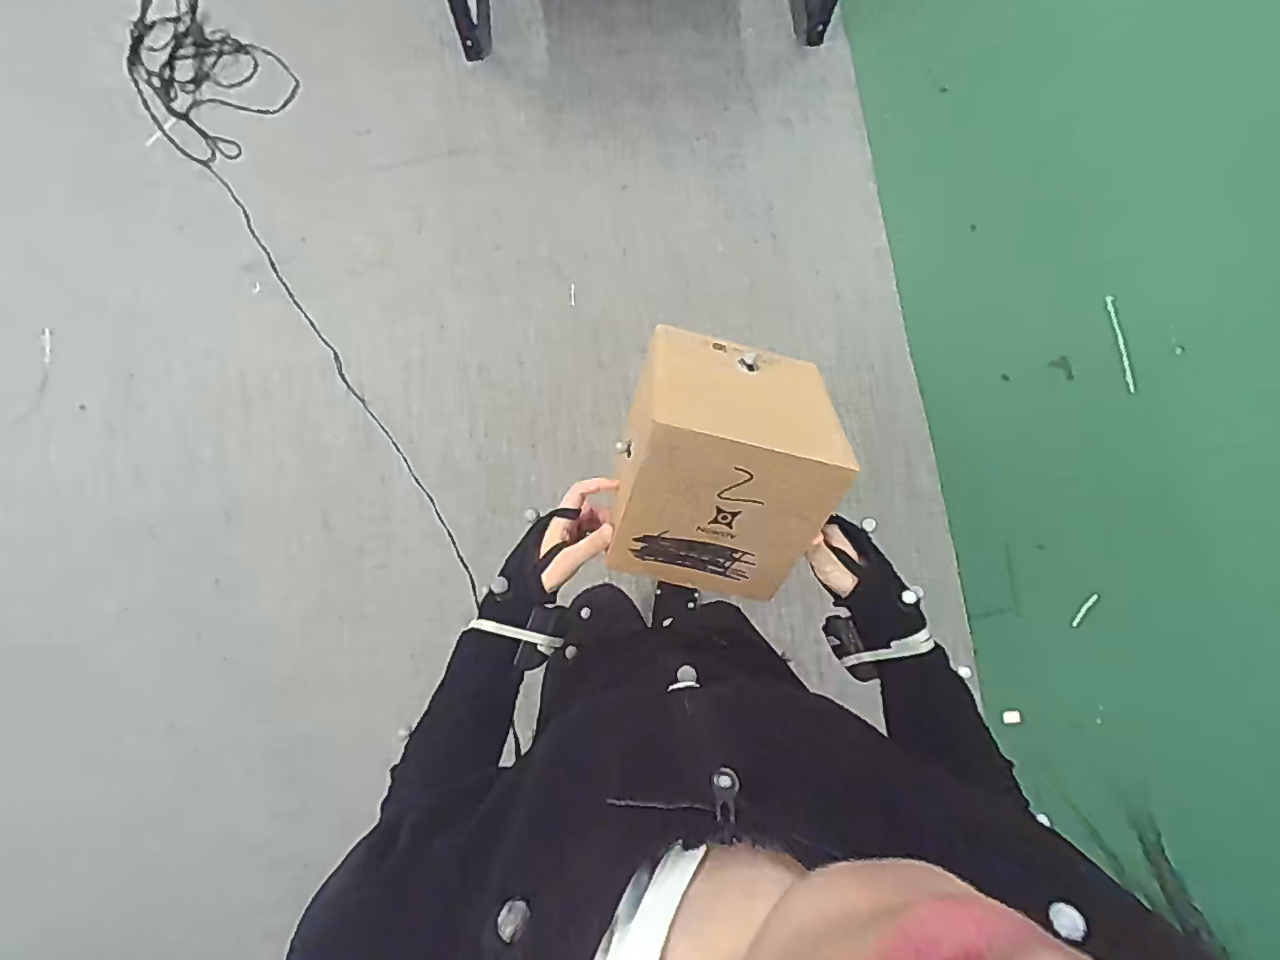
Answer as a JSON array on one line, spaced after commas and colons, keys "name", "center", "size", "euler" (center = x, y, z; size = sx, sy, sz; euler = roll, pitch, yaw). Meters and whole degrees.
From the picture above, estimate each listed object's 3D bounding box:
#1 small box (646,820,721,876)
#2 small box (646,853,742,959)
[{"name": "small box", "center": [0.111, 0.973, 1.330], "size": [0.179, 0.176, 0.168], "euler": [-10, 82, -4]}, {"name": "small box", "center": [0.110, 0.947, 1.167], "size": [0.179, 0.176, 0.168], "euler": [-9, 82, -4]}]
